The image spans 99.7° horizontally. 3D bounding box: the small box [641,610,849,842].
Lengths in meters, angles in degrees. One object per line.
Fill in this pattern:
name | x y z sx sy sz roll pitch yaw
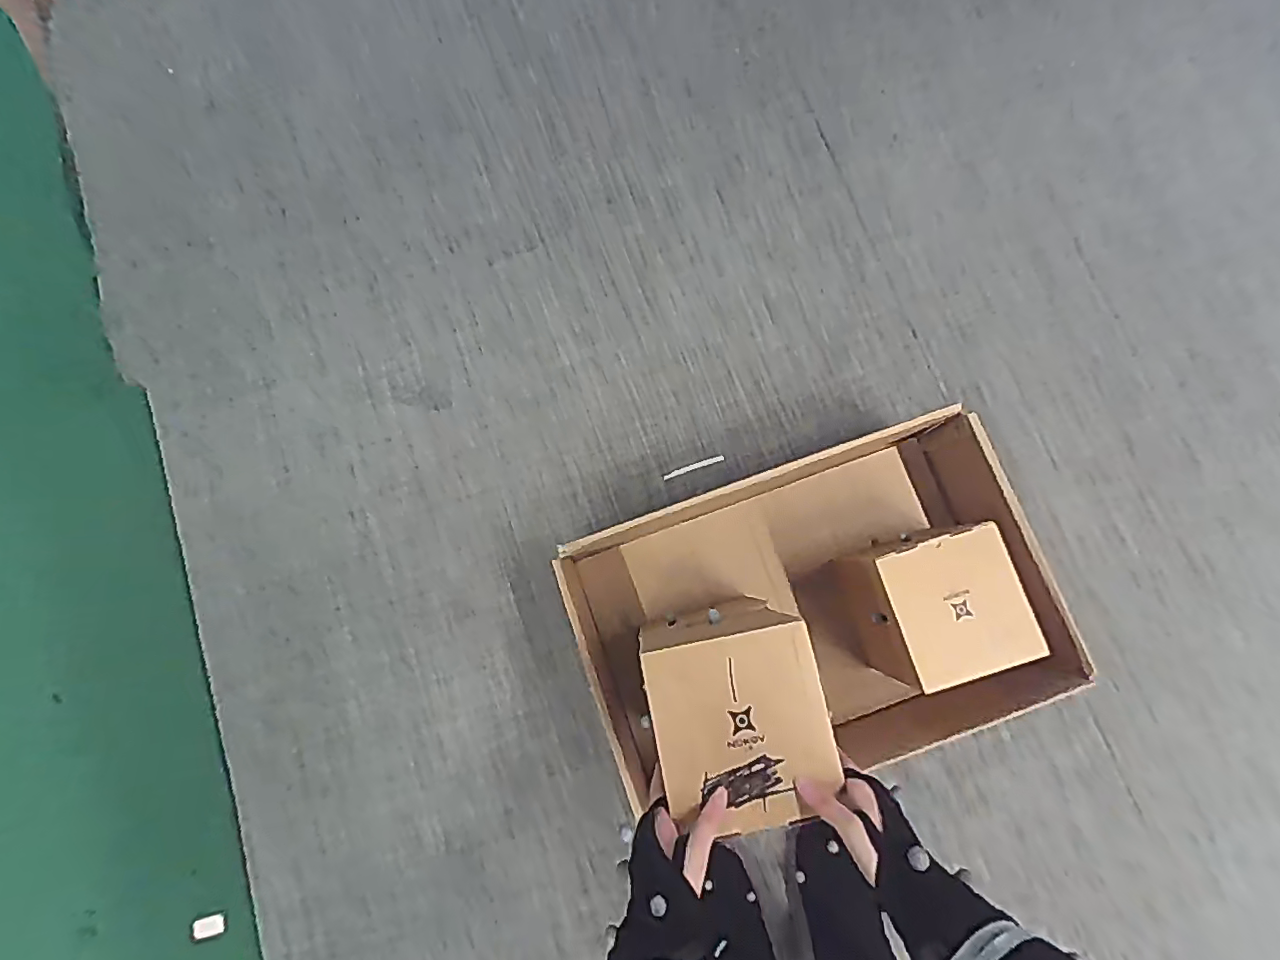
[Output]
small box | 0.100 0.246 0.587 0.168 0.176 0.179 -12 79 -1
